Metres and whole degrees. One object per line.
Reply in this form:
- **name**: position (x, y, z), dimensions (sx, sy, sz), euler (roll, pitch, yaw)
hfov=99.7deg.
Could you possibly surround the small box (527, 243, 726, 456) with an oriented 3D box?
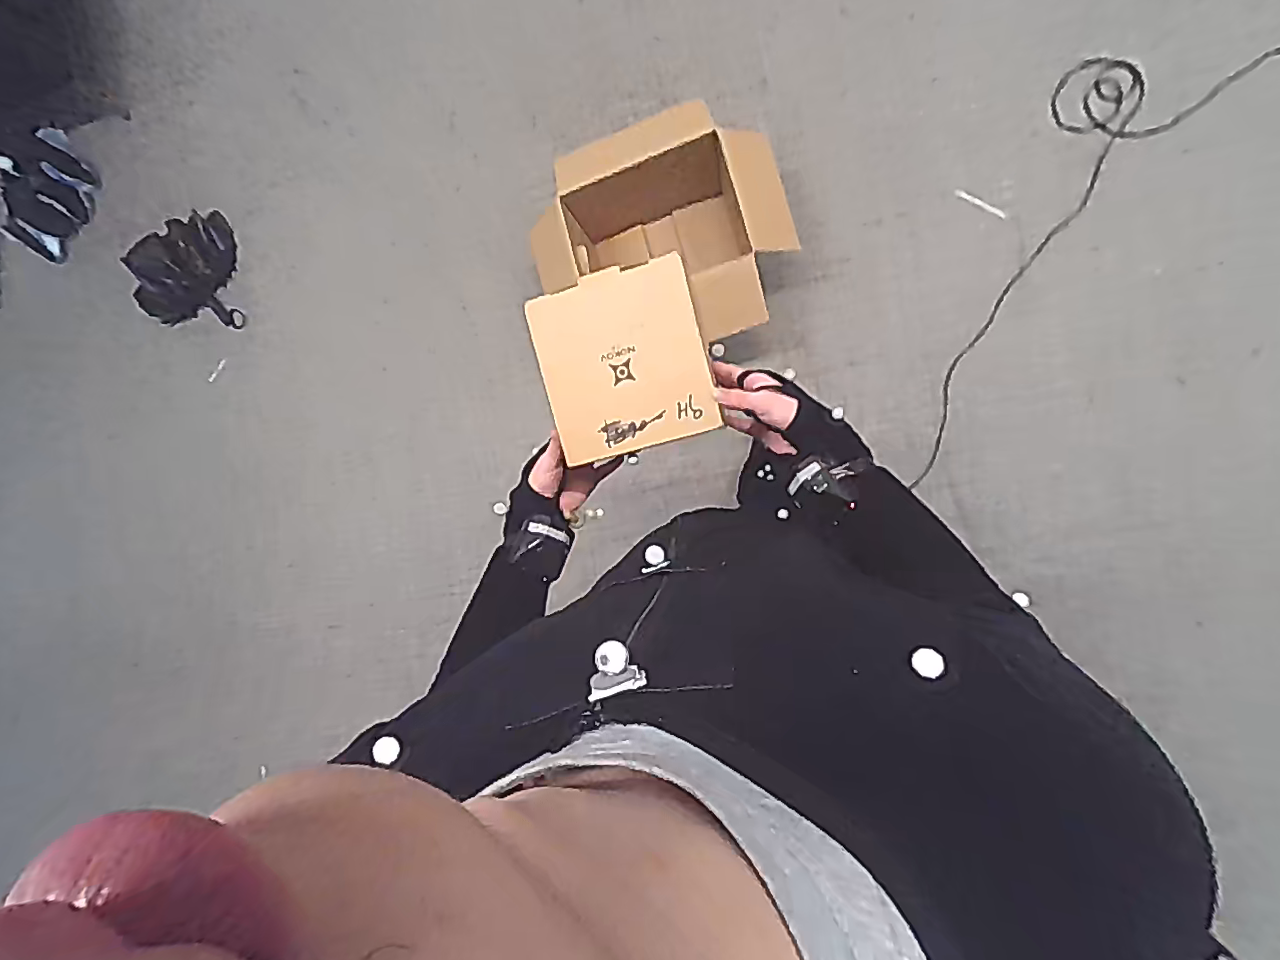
- **small box**: position (-0.003, -0.134, 0.613), dimensions (0.168, 0.176, 0.179), euler (-14, 94, 13)
